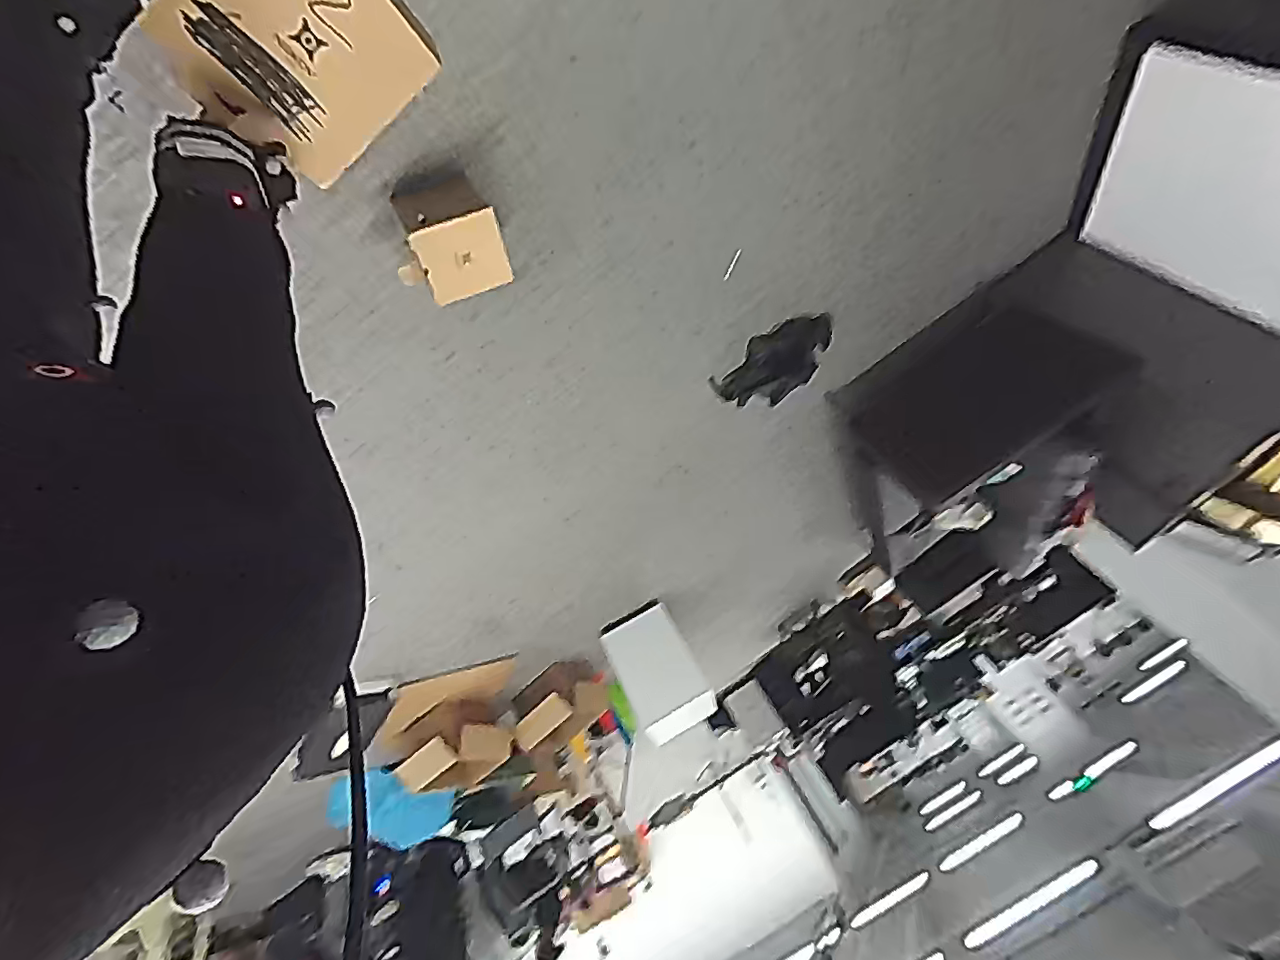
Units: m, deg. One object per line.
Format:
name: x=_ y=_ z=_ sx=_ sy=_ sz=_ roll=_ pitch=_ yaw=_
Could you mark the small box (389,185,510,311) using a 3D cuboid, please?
small box: x=-0.404 y=-0.499 z=1.152 sx=0.179 sy=0.176 sz=0.168 roll=-25 pitch=145 yaw=-12
